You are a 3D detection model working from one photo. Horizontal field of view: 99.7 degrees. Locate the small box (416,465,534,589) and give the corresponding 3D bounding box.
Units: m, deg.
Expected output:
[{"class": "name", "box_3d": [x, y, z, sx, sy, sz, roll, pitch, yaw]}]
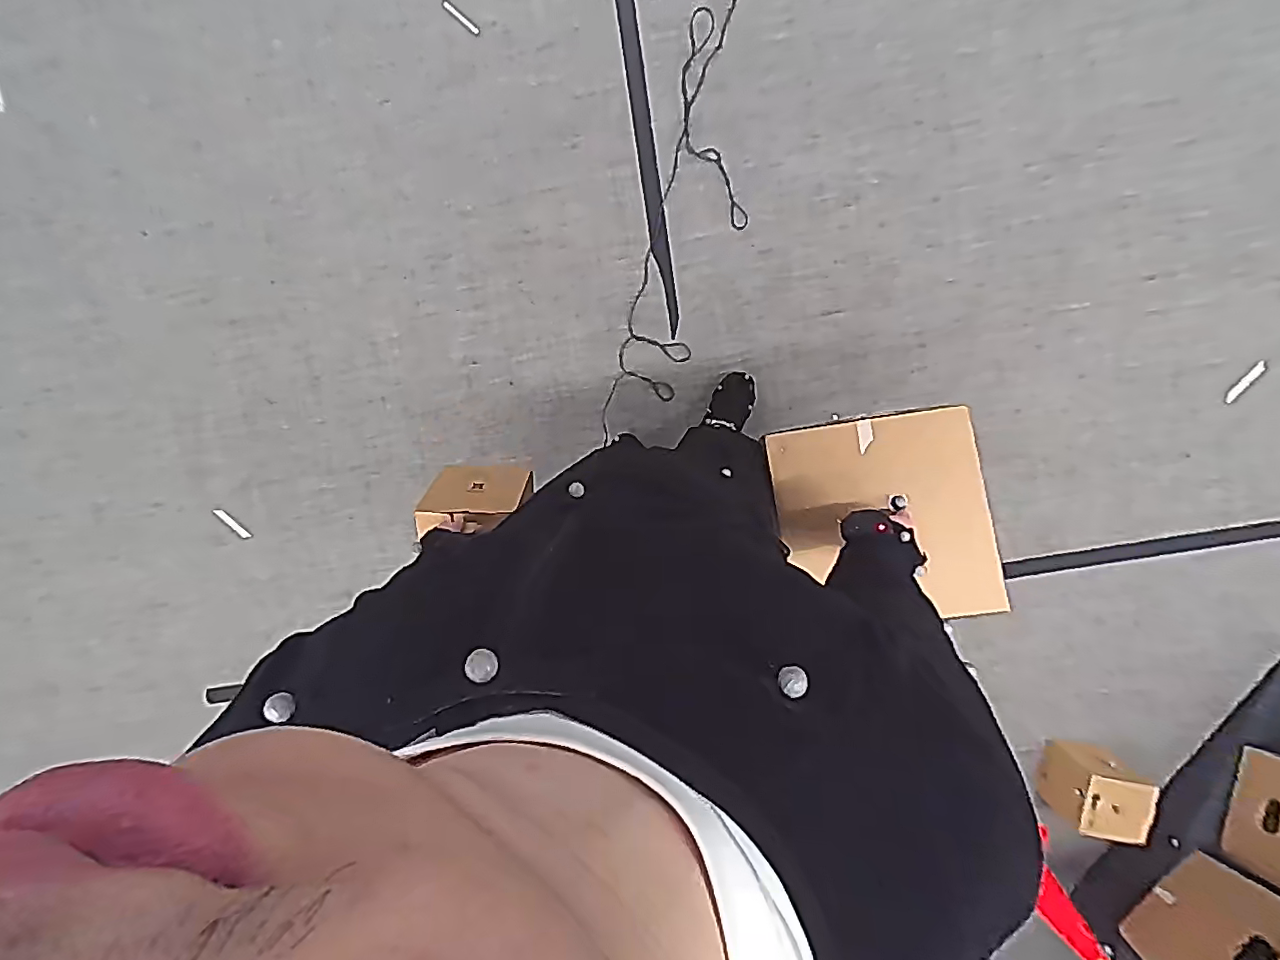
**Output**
[{"class": "small box", "box_3d": [-0.290, 0.086, 0.999, 0.168, 0.179, 0.176, 2, 118, -2]}]
